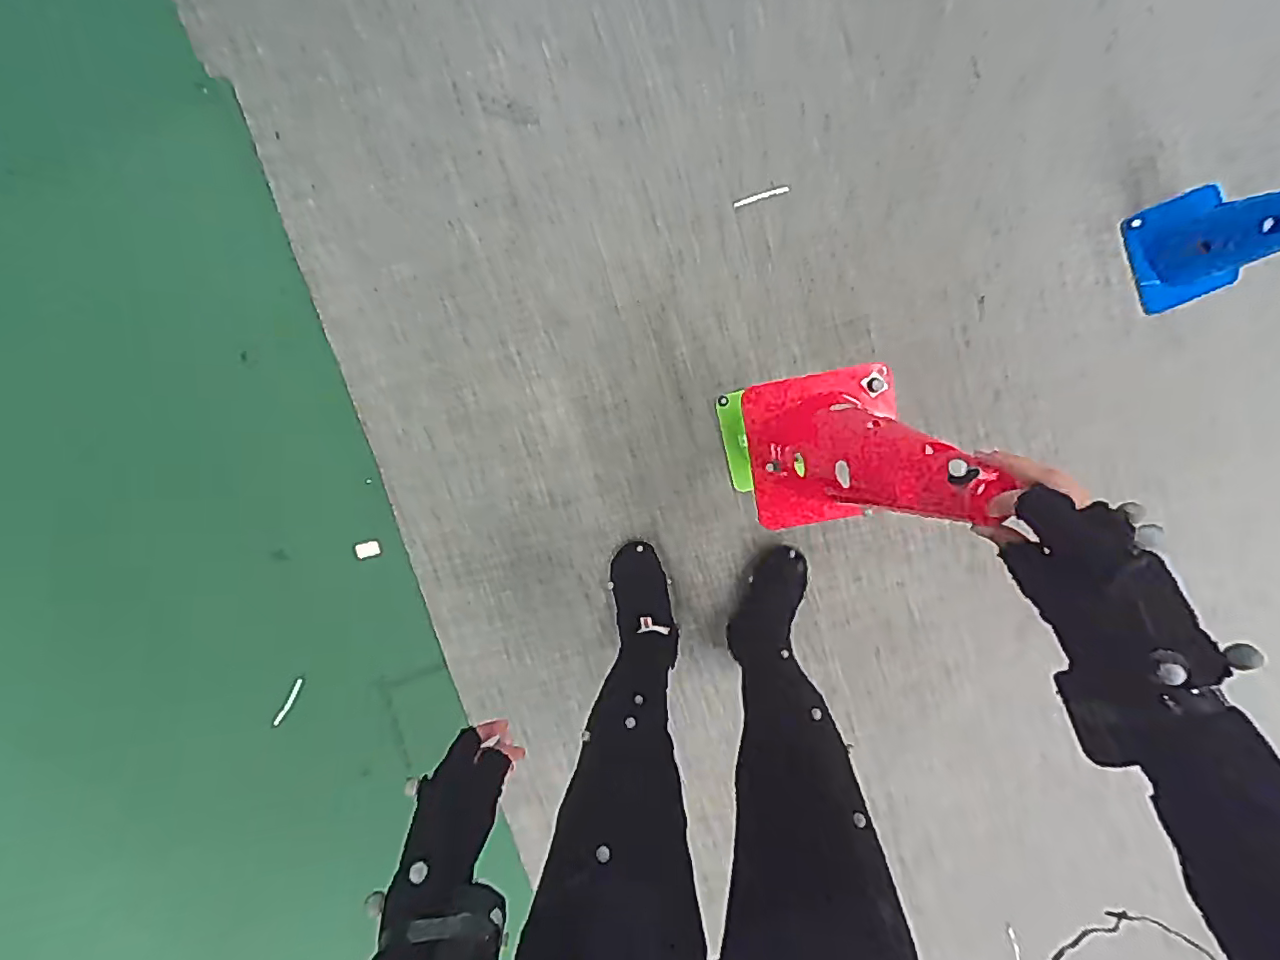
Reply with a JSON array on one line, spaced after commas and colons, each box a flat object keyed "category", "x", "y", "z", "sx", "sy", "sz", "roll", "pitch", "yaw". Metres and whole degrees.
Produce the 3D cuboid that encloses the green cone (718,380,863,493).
[{"category": "green cone", "x": 0.277, "y": -0.067, "z": 0.921, "sx": 0.202, "sy": 0.368, "sz": 0.200, "roll": -14, "pitch": 97, "yaw": -1}]
